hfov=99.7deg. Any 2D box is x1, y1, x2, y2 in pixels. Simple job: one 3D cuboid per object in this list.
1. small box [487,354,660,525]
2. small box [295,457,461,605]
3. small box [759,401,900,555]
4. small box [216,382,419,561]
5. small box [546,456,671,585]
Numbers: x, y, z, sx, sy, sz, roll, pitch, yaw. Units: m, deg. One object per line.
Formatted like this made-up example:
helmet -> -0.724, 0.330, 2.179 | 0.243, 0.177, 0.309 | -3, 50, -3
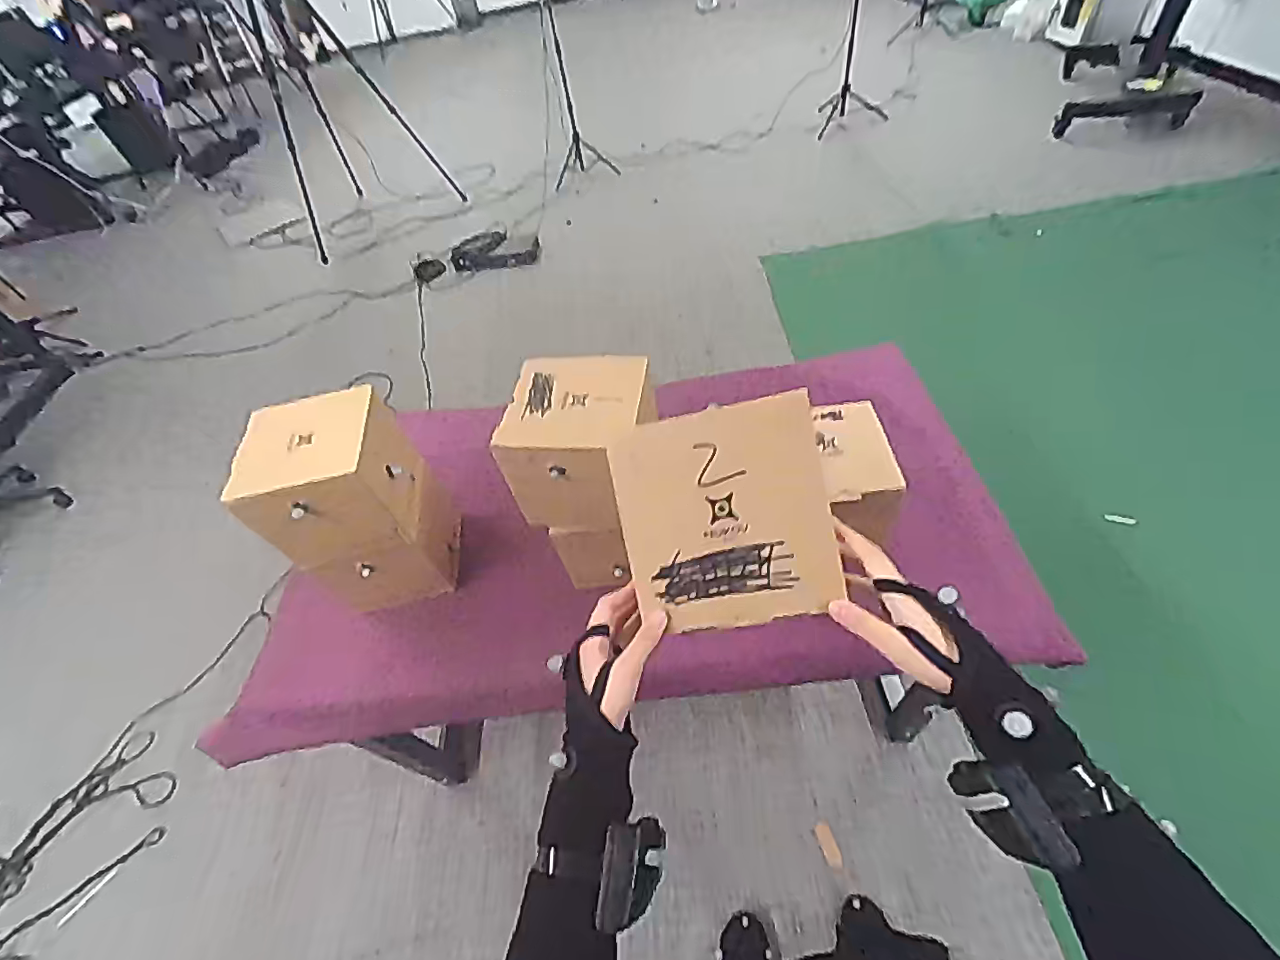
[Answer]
small box -> -0.076, -0.053, 0.735 | 0.179, 0.176, 0.168 | 2, 52, 11
small box -> -0.418, 0.090, 0.894 | 0.179, 0.176, 0.168 | -11, 51, 0
small box -> 0.279, 0.005, 0.838 | 0.168, 0.176, 0.179 | -6, 51, 6
small box -> -0.434, -0.008, 0.766 | 0.179, 0.176, 0.168 | -14, 52, 0
small box -> -0.043, 0.046, 0.862 | 0.168, 0.176, 0.179 | -7, 51, 5
